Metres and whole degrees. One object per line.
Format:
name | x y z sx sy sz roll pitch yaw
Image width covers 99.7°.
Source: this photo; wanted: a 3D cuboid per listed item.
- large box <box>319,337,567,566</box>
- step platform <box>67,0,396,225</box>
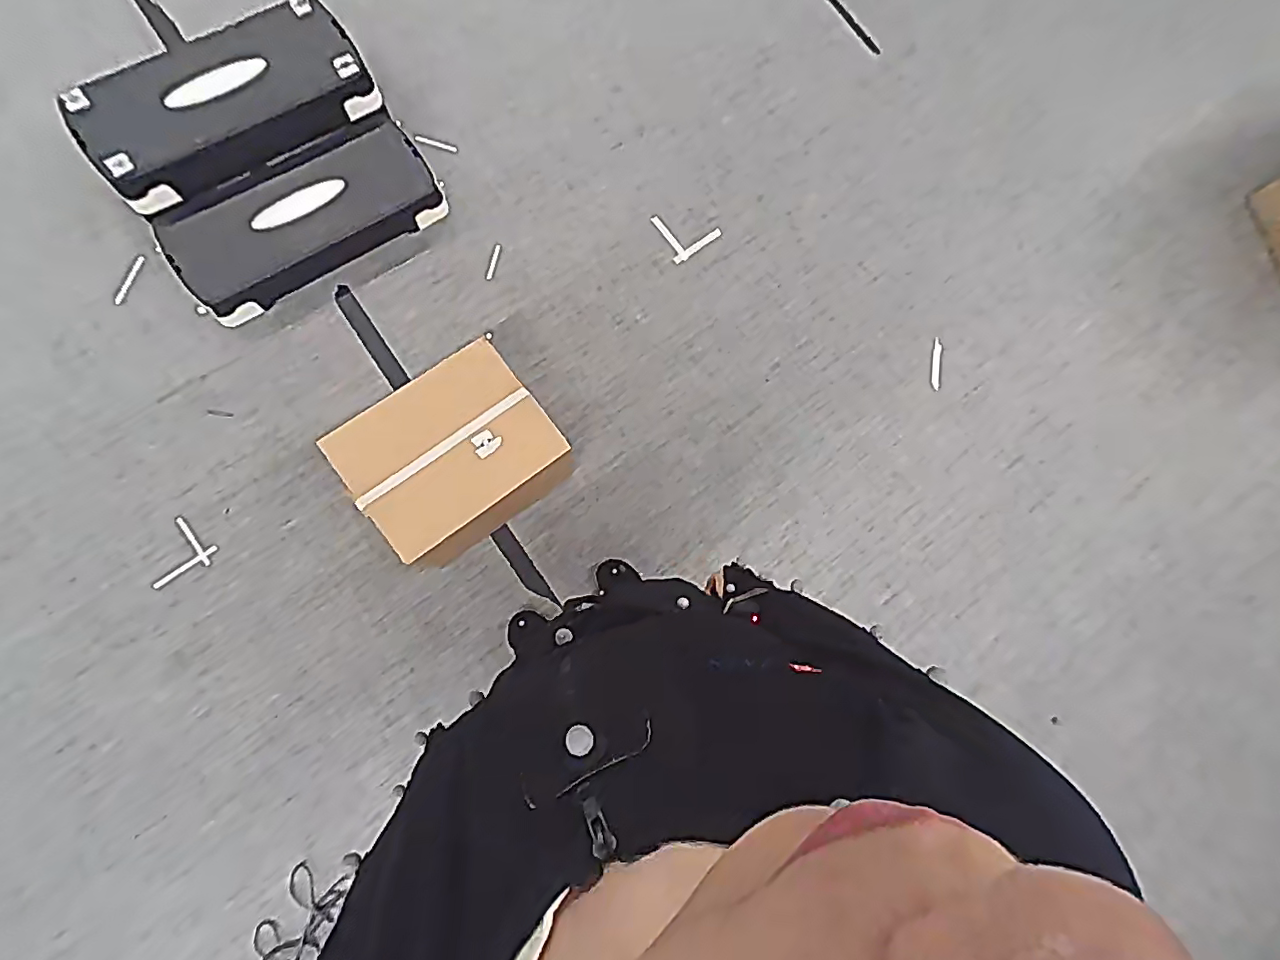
large box | -0.419 -0.044 1.254 0.408 0.320 0.320 -38 87 -12
step platform | -1.017 -0.943 1.386 0.684 0.204 0.286 -30 85 -11
